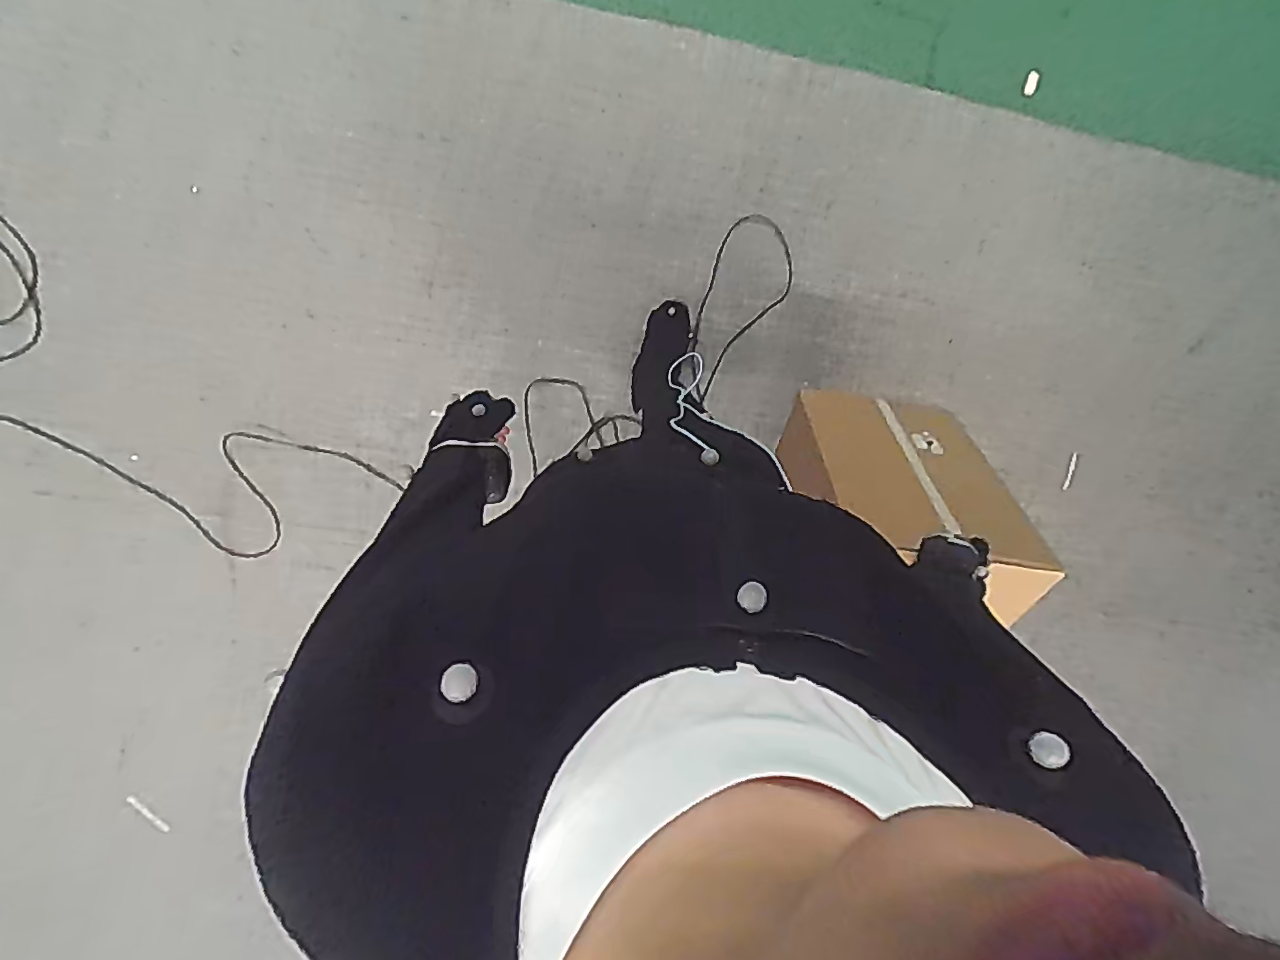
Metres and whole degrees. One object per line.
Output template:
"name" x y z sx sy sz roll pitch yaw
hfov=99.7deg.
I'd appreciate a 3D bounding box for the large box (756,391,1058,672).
"large box" 0.426 0.087 0.996 0.320 0.408 0.320 9 130 -5
